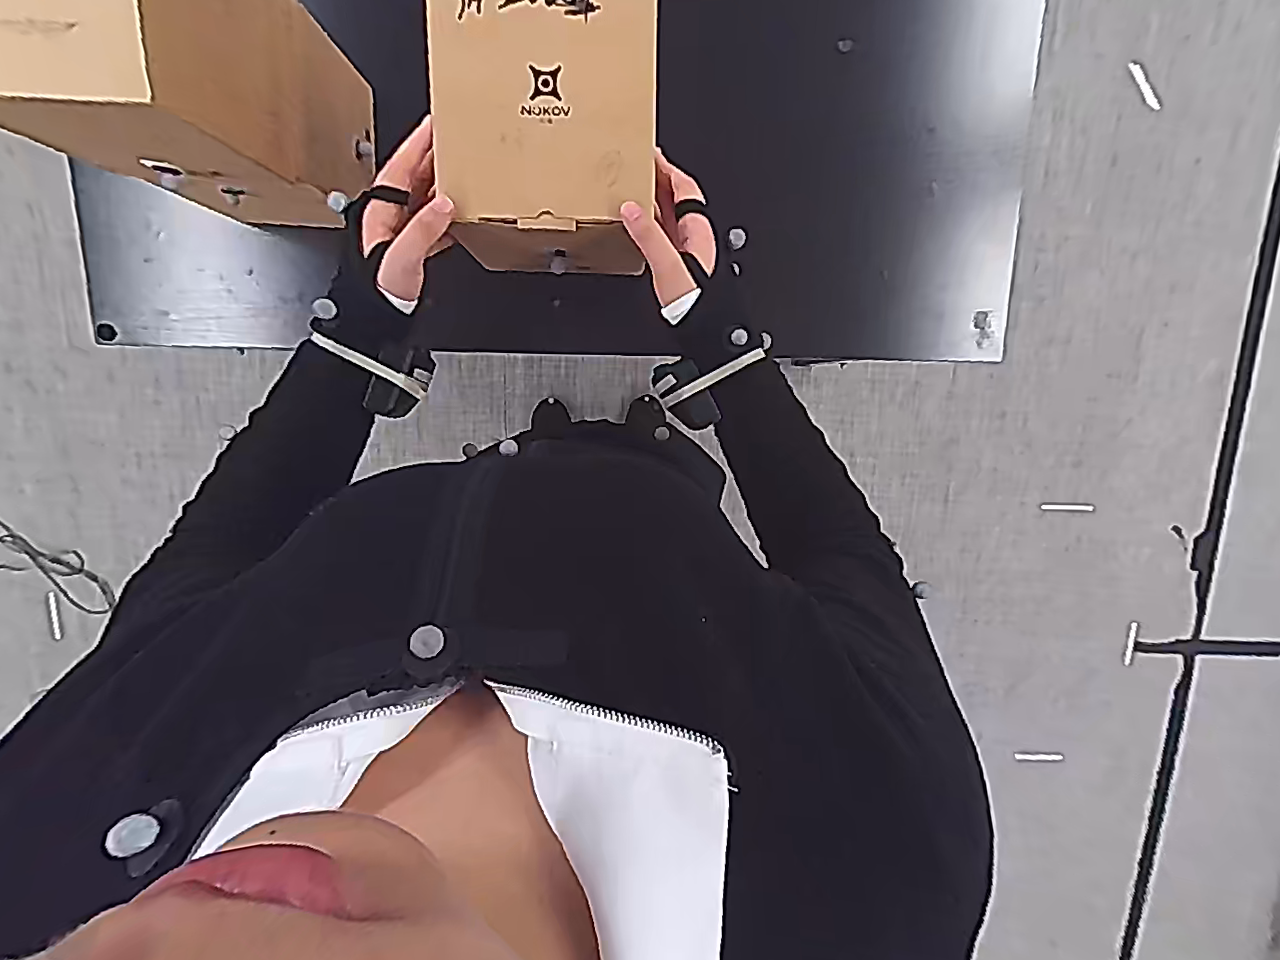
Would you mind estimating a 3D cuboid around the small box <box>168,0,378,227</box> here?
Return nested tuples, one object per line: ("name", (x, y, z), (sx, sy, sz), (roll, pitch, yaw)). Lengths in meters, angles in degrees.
("small box", (-0.415, -0.392, 0.597), (0.179, 0.176, 0.168), (2, 100, -3))

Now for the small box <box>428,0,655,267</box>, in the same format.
("small box", (-0.073, -0.295, 0.478), (0.168, 0.176, 0.179), (0, 100, -2))

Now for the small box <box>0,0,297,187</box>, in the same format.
("small box", (-0.412, -0.363, 0.437), (0.168, 0.176, 0.179), (1, 100, -1))
